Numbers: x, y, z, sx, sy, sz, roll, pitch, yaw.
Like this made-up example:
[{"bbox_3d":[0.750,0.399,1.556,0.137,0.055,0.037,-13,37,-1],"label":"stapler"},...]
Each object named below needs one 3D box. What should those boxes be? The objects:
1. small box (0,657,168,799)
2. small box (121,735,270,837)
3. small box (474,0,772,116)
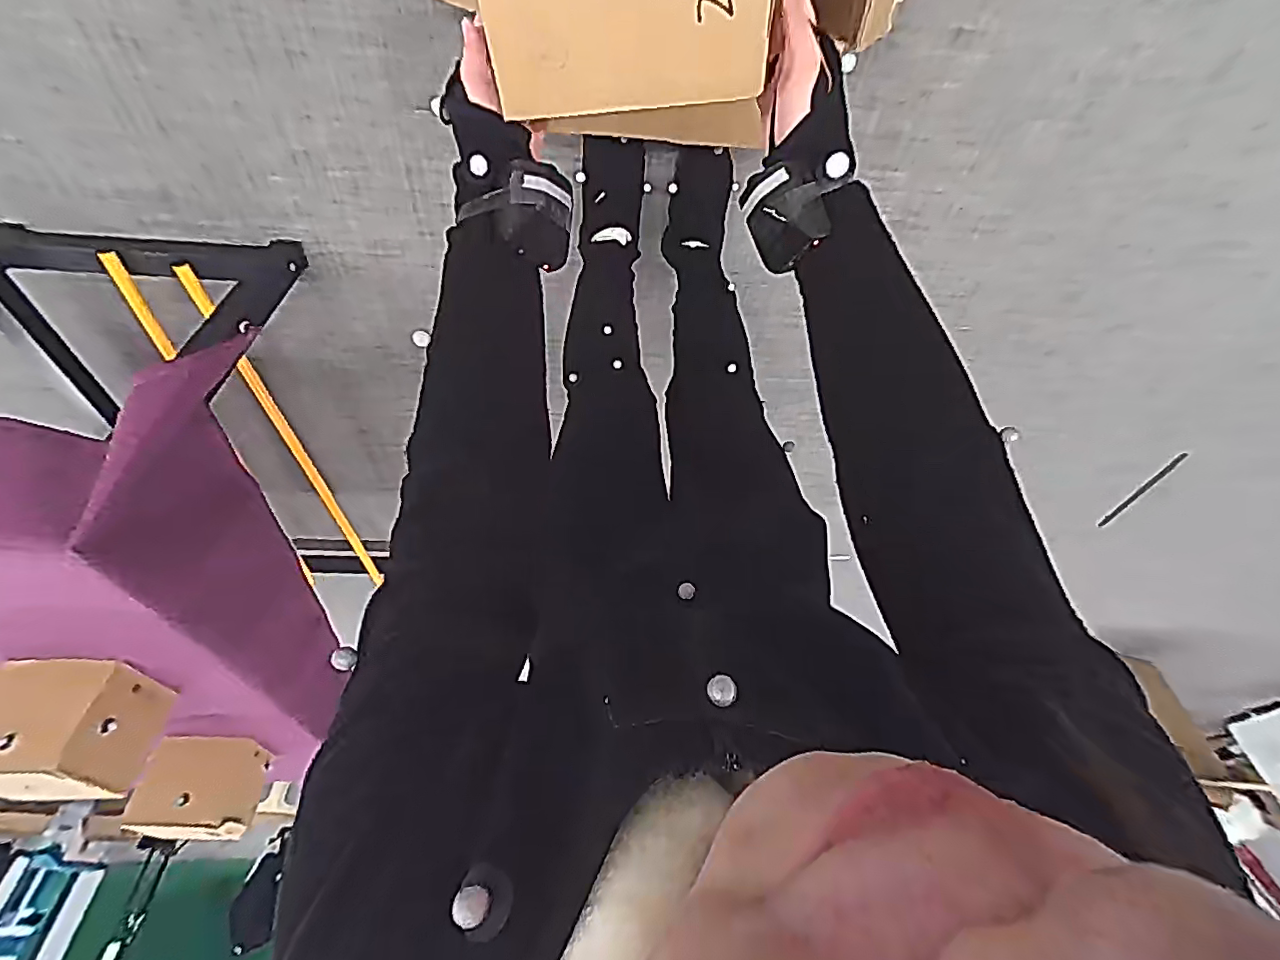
[{"bbox_3d":[-0.902,0.390,0.852,0.179,0.176,0.168,2,139,-4],"label":"small box"},{"bbox_3d":[-0.941,0.663,1.173,0.179,0.176,0.168,4,139,-6],"label":"small box"},{"bbox_3d":[-0.016,-0.359,0.341,0.179,0.176,0.168,-6,144,-1],"label":"small box"}]
